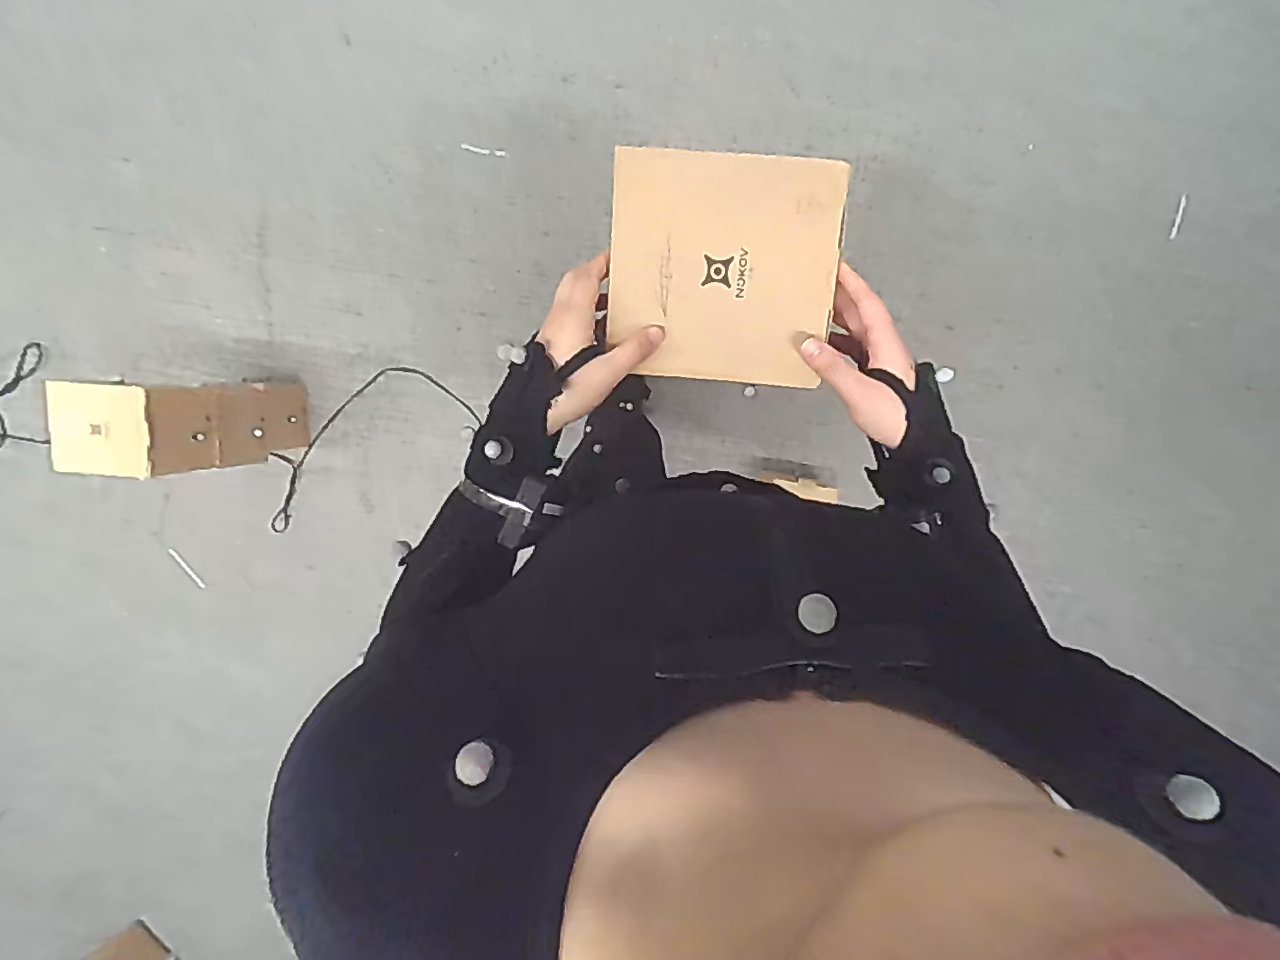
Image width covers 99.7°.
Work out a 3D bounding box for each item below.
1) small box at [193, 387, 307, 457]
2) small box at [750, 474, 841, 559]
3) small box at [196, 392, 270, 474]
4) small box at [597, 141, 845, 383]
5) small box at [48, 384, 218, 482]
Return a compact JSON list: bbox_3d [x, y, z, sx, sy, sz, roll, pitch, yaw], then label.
[{"bbox_3d":[-0.972,-0.150,1.368,0.179,0.176,0.168,1,97,1],"label":"small box"},{"bbox_3d":[0.390,0.086,1.388,0.168,0.176,0.179,10,97,-1],"label":"small box"},{"bbox_3d":[-0.972,-0.110,1.208,0.179,0.176,0.168,5,98,-1],"label":"small box"},{"bbox_3d":[0.061,-0.178,0.487,0.179,0.176,0.168,4,101,2],"label":"small box"},{"bbox_3d":[-0.968,-0.093,1.047,0.179,0.176,0.168,3,98,-1],"label":"small box"}]
